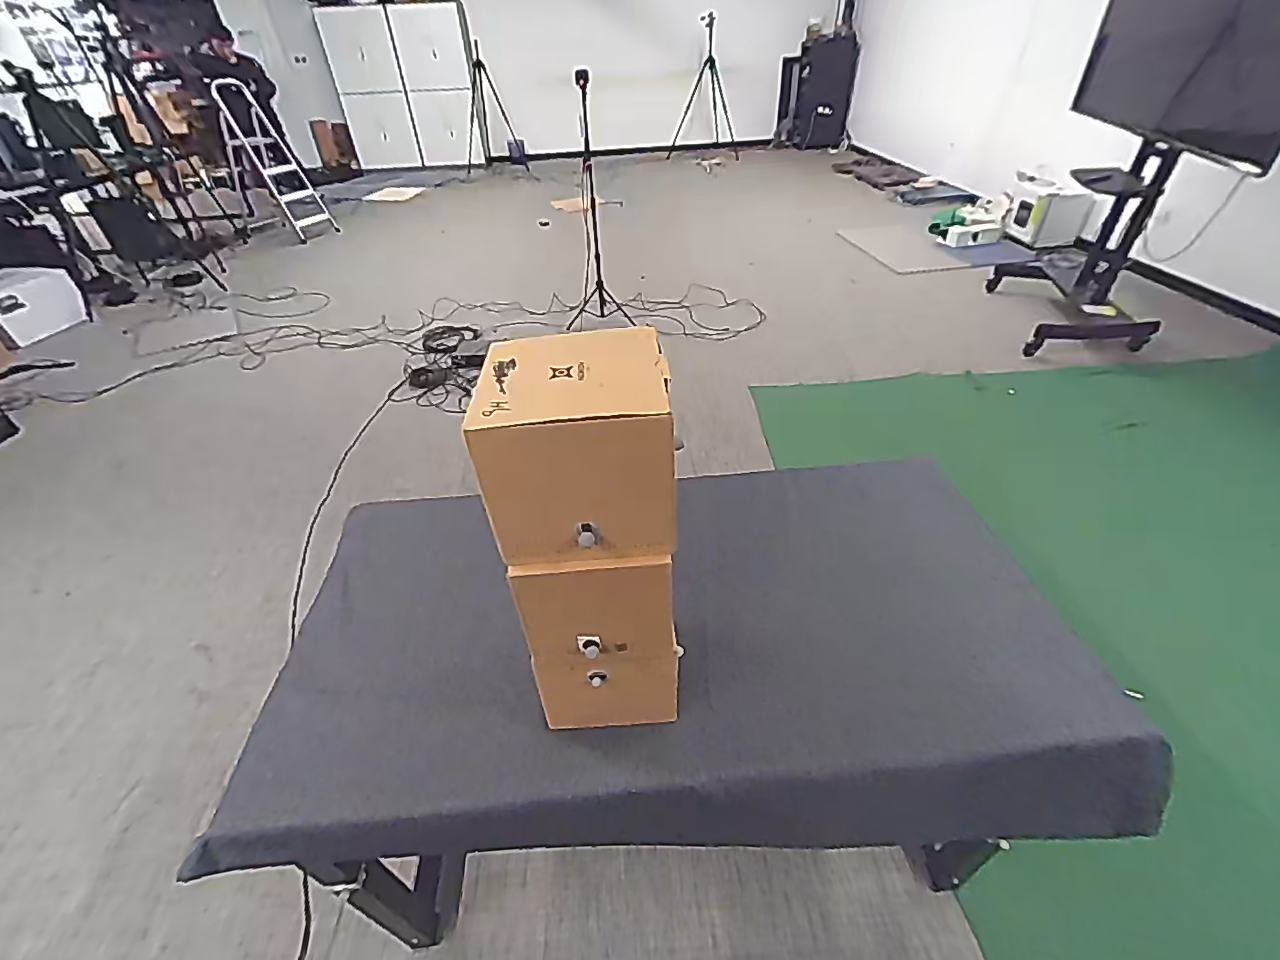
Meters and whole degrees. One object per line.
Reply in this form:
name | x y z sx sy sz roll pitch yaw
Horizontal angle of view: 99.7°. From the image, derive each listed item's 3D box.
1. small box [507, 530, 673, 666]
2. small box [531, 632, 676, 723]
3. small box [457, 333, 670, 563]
small box | -0.051 0.097 0.651 0.168 0.176 0.179 -6 40 0
small box | -0.043 0.221 0.755 0.179 0.176 0.168 -3 39 0
small box | -0.062 -0.032 0.552 0.179 0.176 0.168 -4 39 0
